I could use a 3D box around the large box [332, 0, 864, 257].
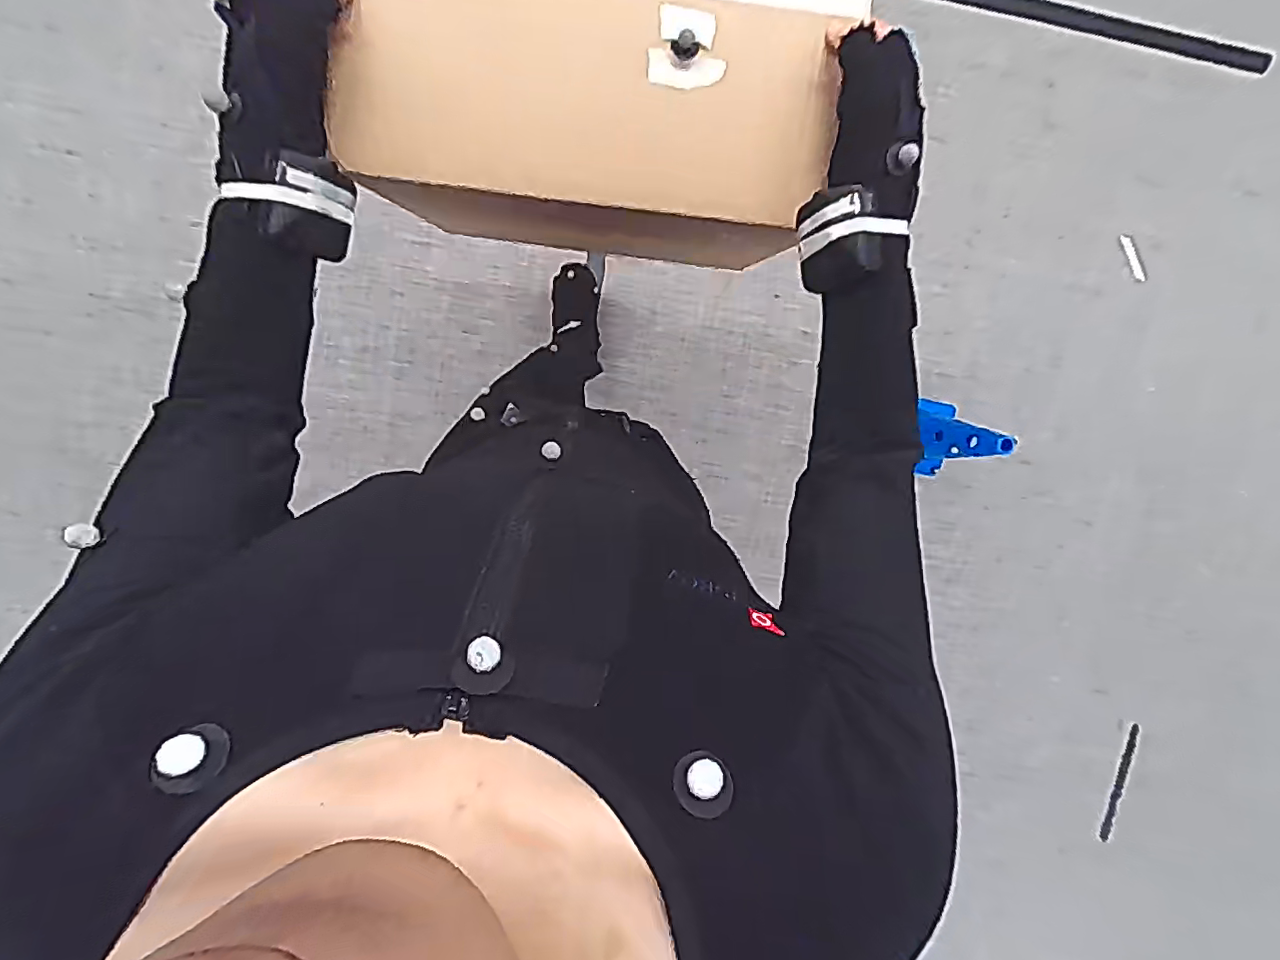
[{"bbox_3d":[-0.034,-0.424,0.541,0.408,0.320,0.320,5,106,-5],"label":"large box"}]

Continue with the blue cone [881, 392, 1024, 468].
[{"bbox_3d":[0.769,-0.111,1.315,0.192,0.380,0.193,13,98,-5],"label":"blue cone"}]
